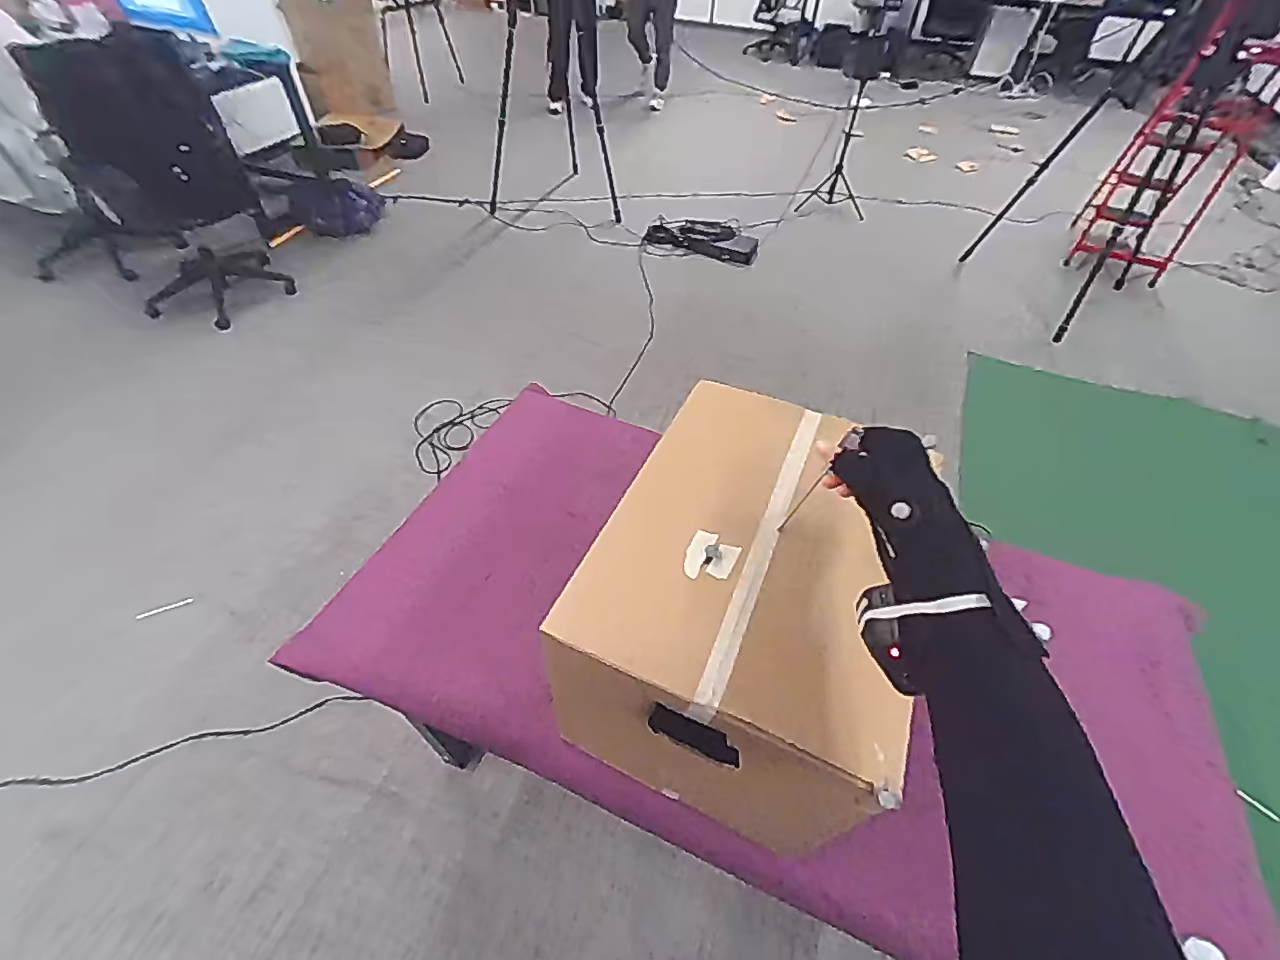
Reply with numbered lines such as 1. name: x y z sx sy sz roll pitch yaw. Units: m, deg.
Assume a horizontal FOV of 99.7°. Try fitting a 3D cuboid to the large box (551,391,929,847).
1. large box: 0.127 0.160 0.689 0.320 0.320 0.408 21 51 15
